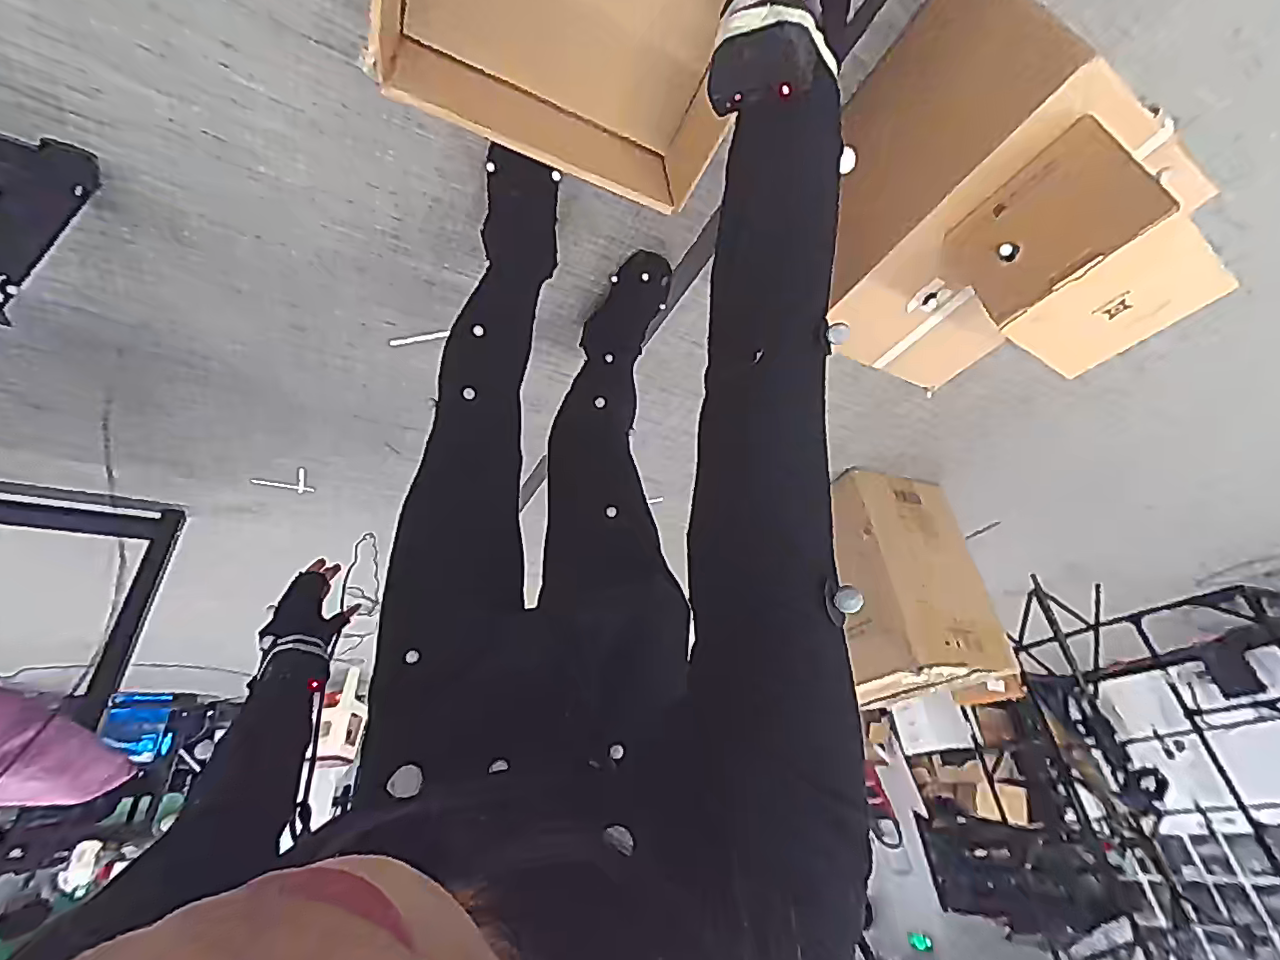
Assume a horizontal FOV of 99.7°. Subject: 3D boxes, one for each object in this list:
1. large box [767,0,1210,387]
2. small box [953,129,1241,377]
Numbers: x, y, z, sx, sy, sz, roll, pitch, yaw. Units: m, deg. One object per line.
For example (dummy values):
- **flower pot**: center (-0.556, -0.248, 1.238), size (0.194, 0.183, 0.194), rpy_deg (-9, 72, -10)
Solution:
- **large box**: center (0.458, -0.413, 0.808), size (0.320, 0.320, 0.408), rpy_deg (13, 144, -26)
- **small box**: center (0.496, -0.252, 0.611), size (0.179, 0.176, 0.168), rpy_deg (14, 145, -29)
